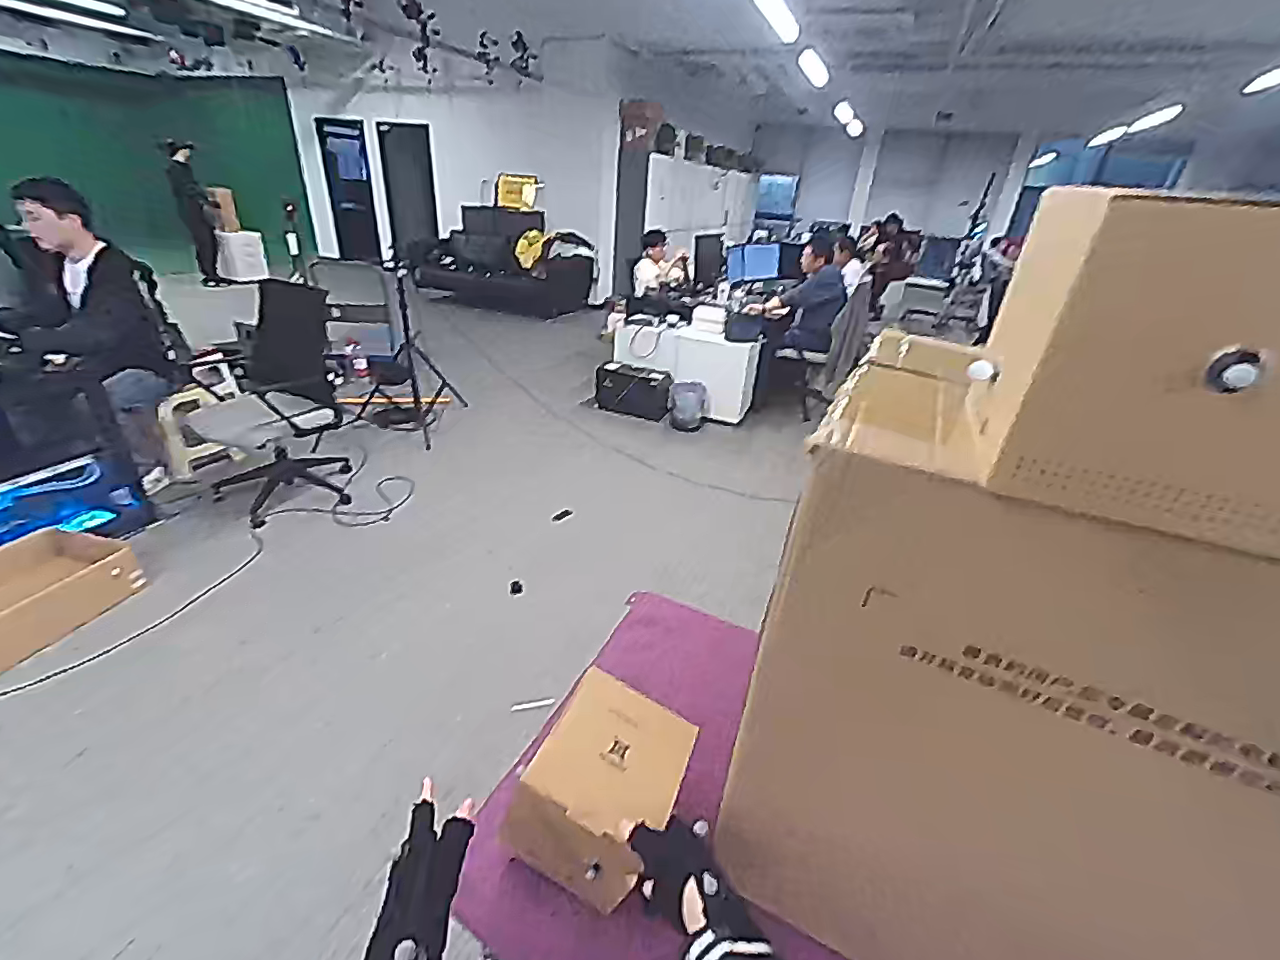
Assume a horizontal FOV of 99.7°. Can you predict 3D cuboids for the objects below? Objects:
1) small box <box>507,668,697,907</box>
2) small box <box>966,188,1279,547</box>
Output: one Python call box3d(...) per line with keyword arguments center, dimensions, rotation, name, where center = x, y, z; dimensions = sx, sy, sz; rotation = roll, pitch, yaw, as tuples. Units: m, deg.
box3d(center=(-0.051, 0.387, 0.685), dimensions=(0.168, 0.176, 0.179), rotation=(28, 33, 7), name="small box")
box3d(center=(0.330, -0.080, 0.334), dimensions=(0.179, 0.176, 0.168), rotation=(14, 31, 21), name="small box")
